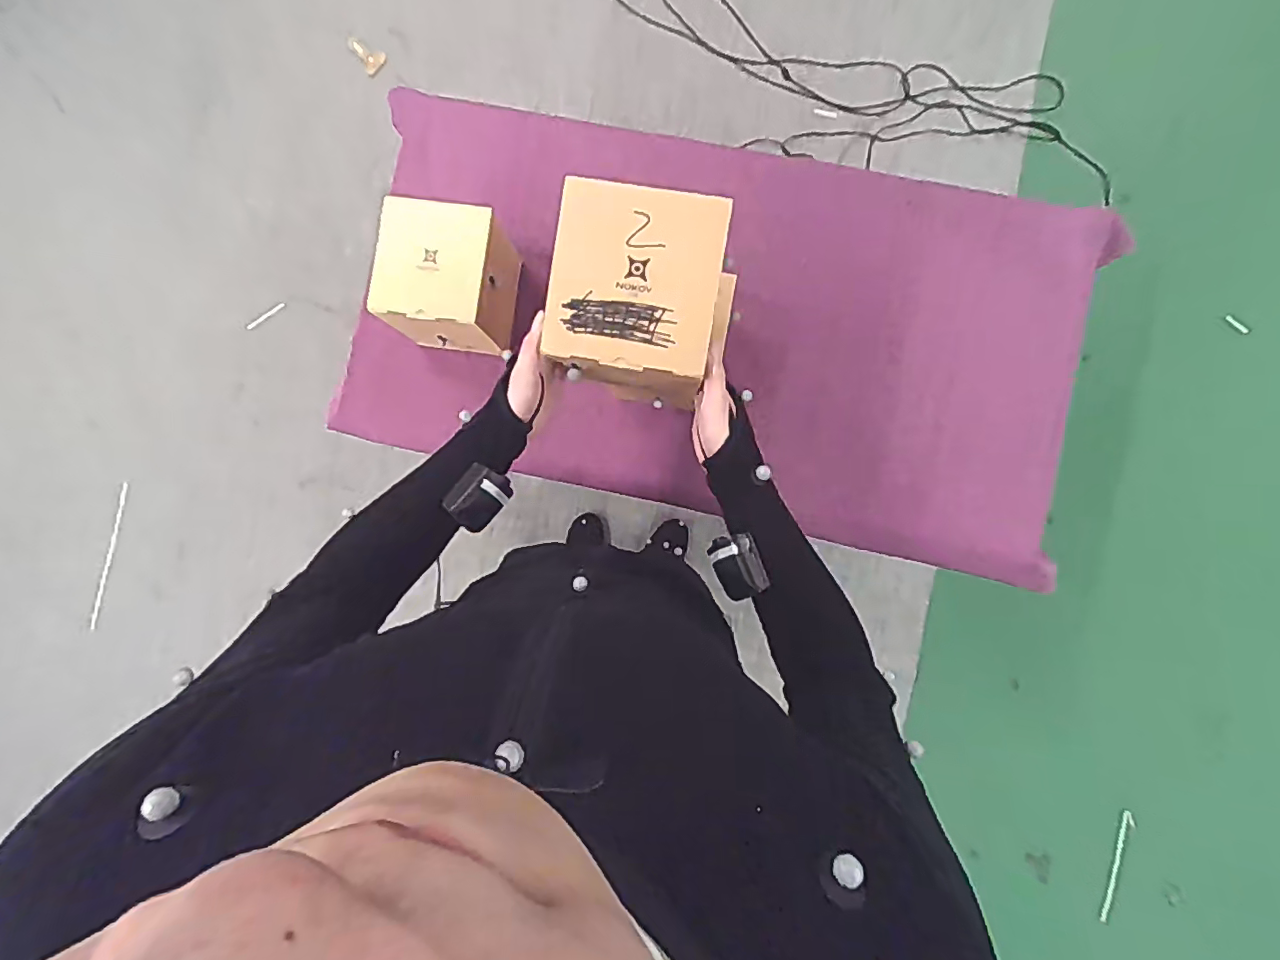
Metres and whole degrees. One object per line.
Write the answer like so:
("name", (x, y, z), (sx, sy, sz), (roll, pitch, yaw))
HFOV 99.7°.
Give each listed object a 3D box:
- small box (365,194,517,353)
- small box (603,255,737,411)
("small box", (-0.304, -0.319, 0.863), (0.168, 0.176, 0.179), (8, 89, 3))
("small box", (0.045, -0.218, 0.840), (0.168, 0.176, 0.179), (10, 88, 4))
